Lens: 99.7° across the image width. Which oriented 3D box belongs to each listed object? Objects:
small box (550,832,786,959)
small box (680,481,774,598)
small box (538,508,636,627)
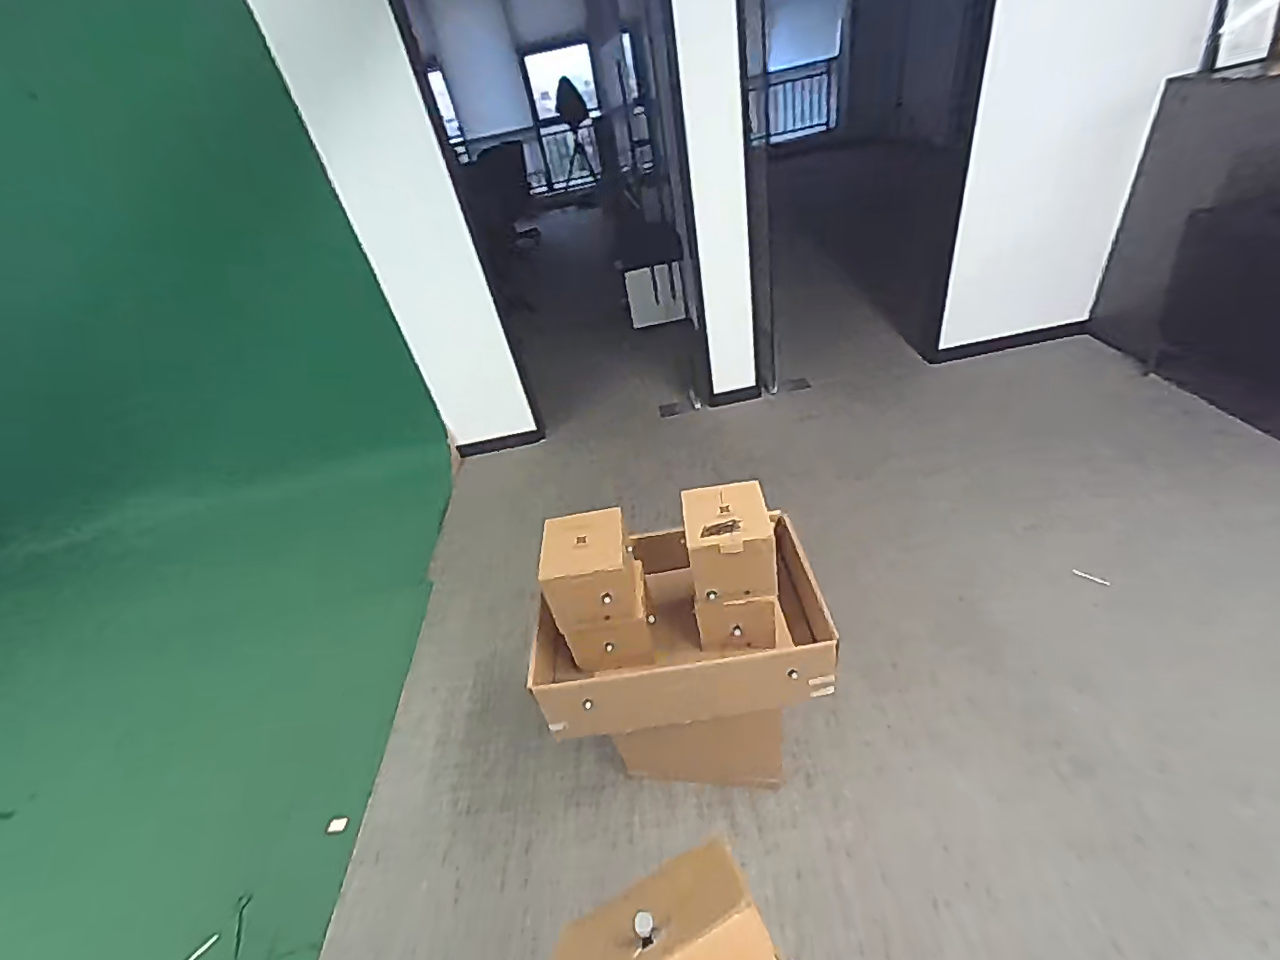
[{"bbox_3d":[0.035,0.414,0.414,0.179,0.176,0.168,-25,73,-9],"label":"small box"},{"bbox_3d":[0.179,0.128,1.120,0.168,0.176,0.179,-8,37,5],"label":"small box"},{"bbox_3d":[-0.104,0.187,1.125,0.168,0.176,0.179,-9,37,3],"label":"small box"}]
